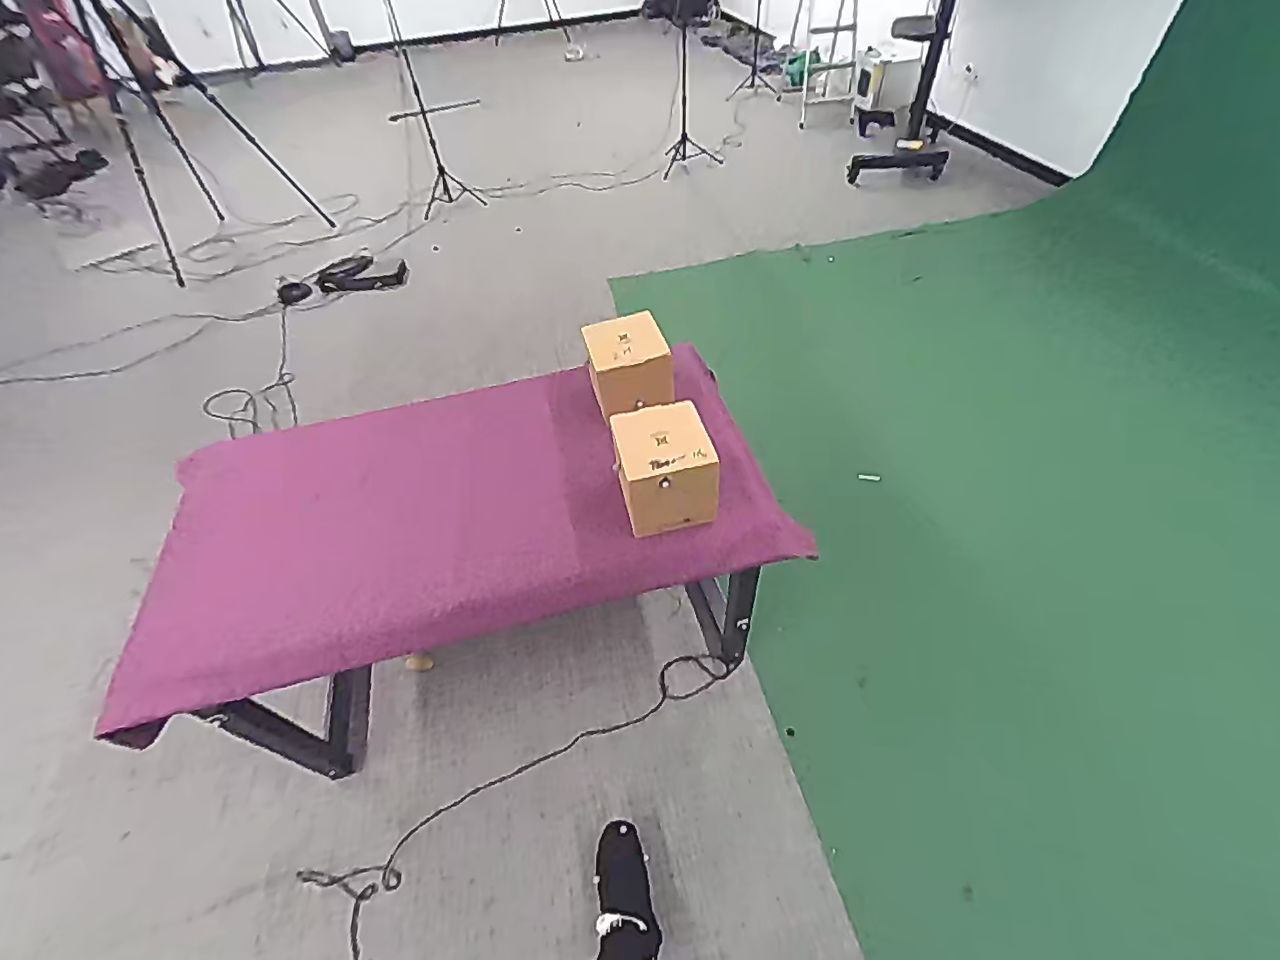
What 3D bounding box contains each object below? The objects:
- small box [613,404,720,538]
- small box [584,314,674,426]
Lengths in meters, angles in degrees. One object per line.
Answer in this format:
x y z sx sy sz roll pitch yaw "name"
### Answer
0.048 -0.017 1.037 0.168 0.176 0.179 -12 47 -5 "small box"
-0.024 -0.249 1.244 0.168 0.176 0.179 -15 50 -5 "small box"
